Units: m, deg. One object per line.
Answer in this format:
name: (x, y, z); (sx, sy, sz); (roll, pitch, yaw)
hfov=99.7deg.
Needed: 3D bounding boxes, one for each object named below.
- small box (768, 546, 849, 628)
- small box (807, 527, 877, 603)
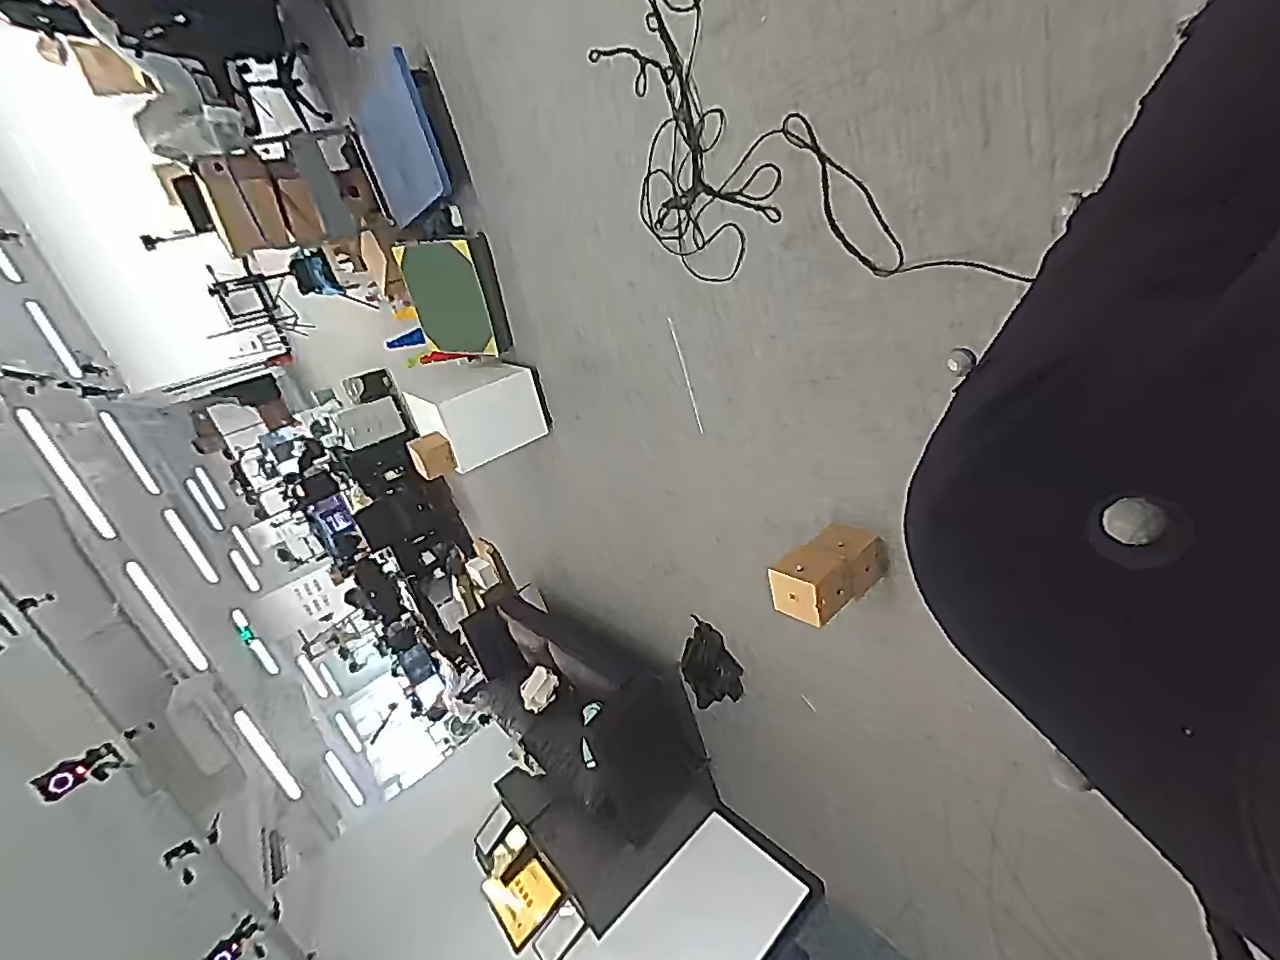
small box: (0.533, 0.329, 1.709); (0.179, 0.176, 0.168); (14, 126, 50)
small box: (0.666, 0.272, 1.787); (0.179, 0.176, 0.168); (13, 126, 50)
